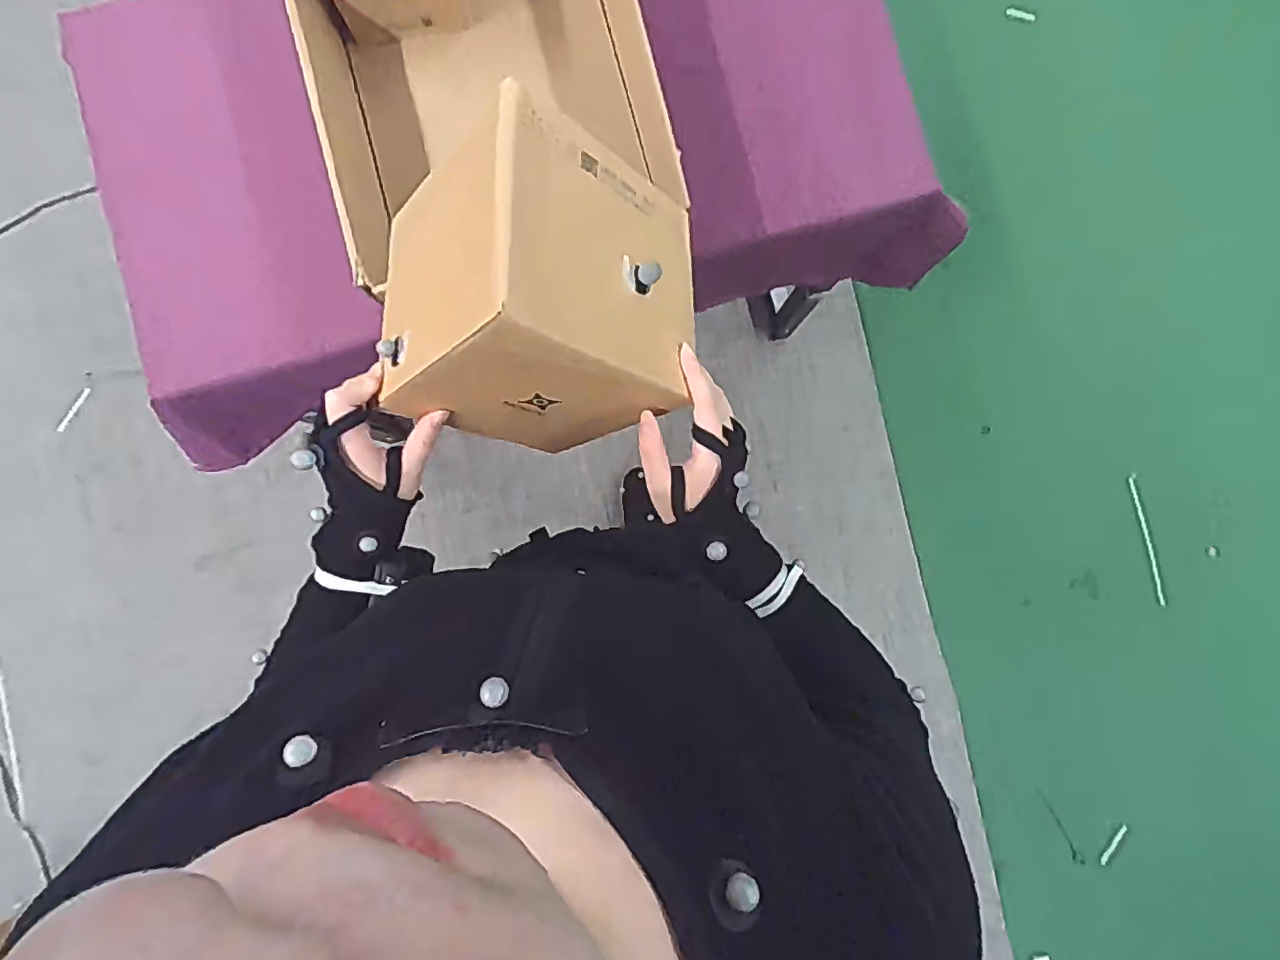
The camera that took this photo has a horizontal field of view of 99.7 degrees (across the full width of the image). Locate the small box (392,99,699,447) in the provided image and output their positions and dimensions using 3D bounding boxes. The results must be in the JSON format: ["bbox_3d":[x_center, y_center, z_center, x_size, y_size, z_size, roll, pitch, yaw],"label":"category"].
[{"bbox_3d":[-0.075,-0.139,0.425,0.168,0.179,0.176,13,71,-43],"label":"small box"}]

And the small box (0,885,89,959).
[{"bbox_3d":[-1.430,1.071,1.225,0.168,0.176,0.179,-25,88,-1],"label":"small box"}]
